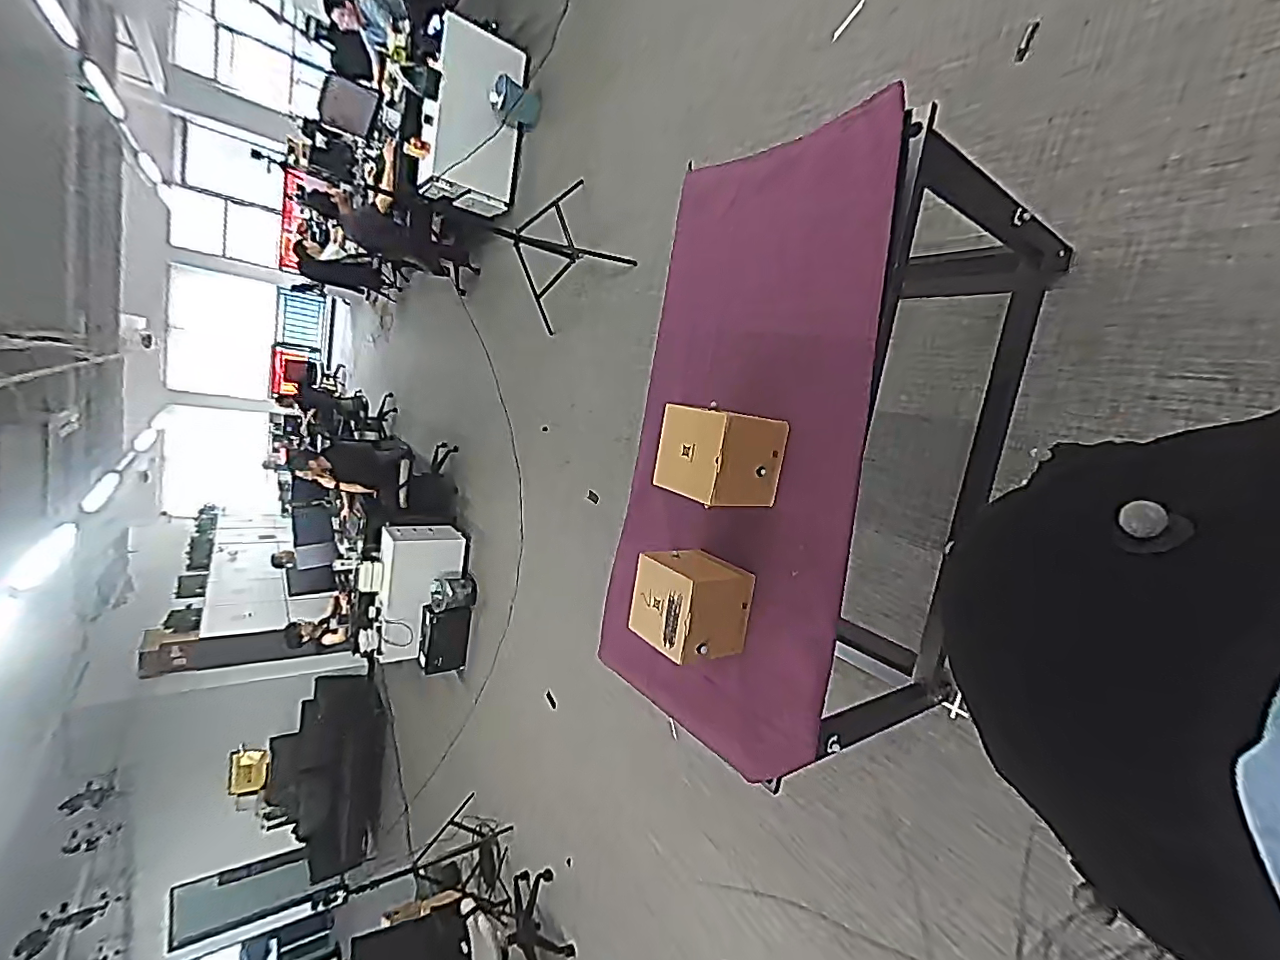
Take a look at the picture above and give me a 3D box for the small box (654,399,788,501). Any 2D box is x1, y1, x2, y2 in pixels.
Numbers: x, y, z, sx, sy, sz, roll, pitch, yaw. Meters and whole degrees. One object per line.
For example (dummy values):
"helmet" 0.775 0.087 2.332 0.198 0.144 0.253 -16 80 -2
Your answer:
"small box" 0.155 -0.057 1.052 0.179 0.176 0.168 21 105 52
